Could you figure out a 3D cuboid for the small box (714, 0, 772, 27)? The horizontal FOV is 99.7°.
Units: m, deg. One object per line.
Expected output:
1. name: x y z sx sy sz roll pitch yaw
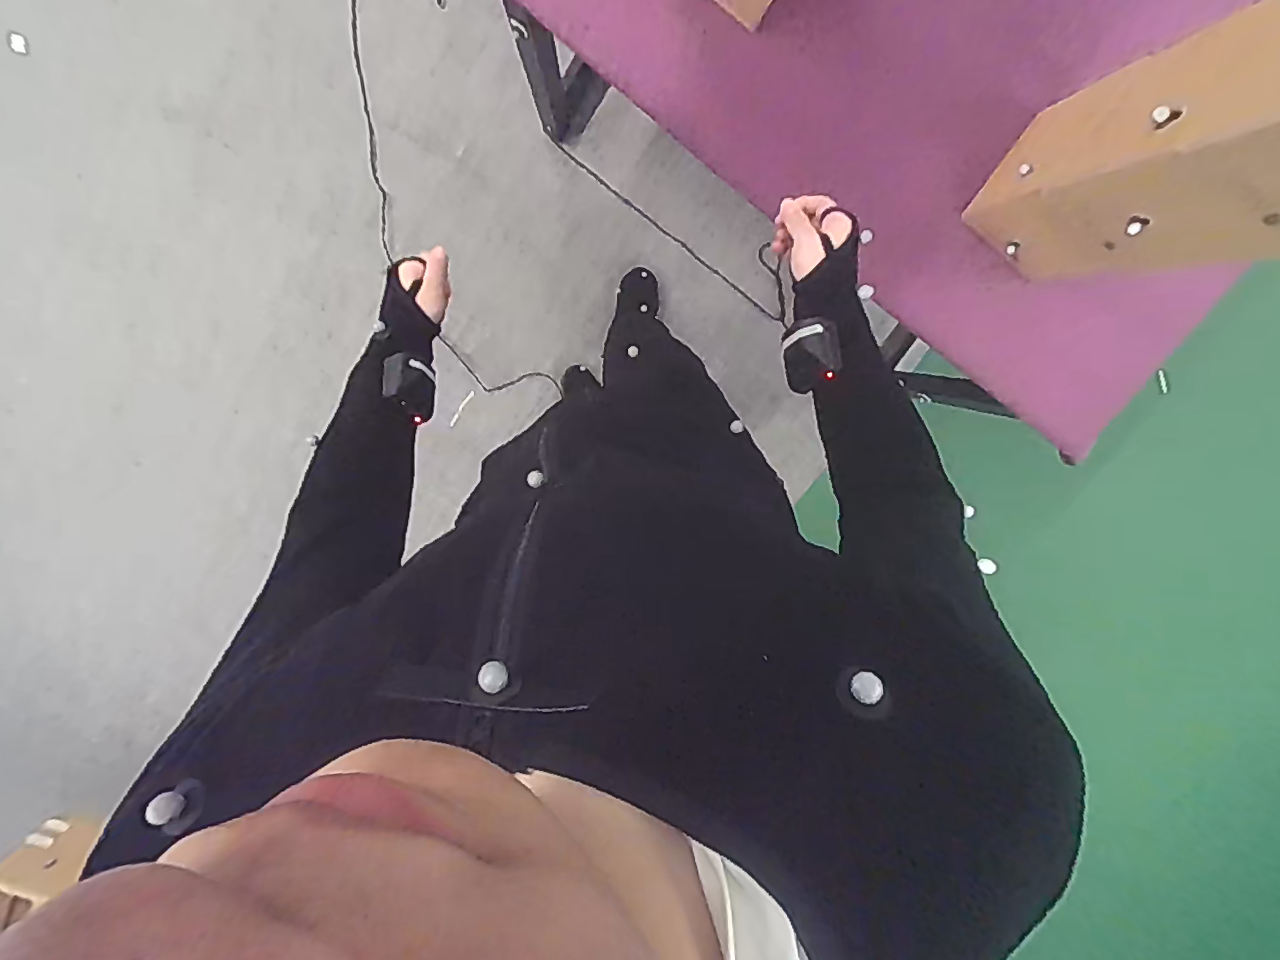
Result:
1. small box: 0.138 -0.694 0.620 0.168 0.176 0.179 33 101 -11
